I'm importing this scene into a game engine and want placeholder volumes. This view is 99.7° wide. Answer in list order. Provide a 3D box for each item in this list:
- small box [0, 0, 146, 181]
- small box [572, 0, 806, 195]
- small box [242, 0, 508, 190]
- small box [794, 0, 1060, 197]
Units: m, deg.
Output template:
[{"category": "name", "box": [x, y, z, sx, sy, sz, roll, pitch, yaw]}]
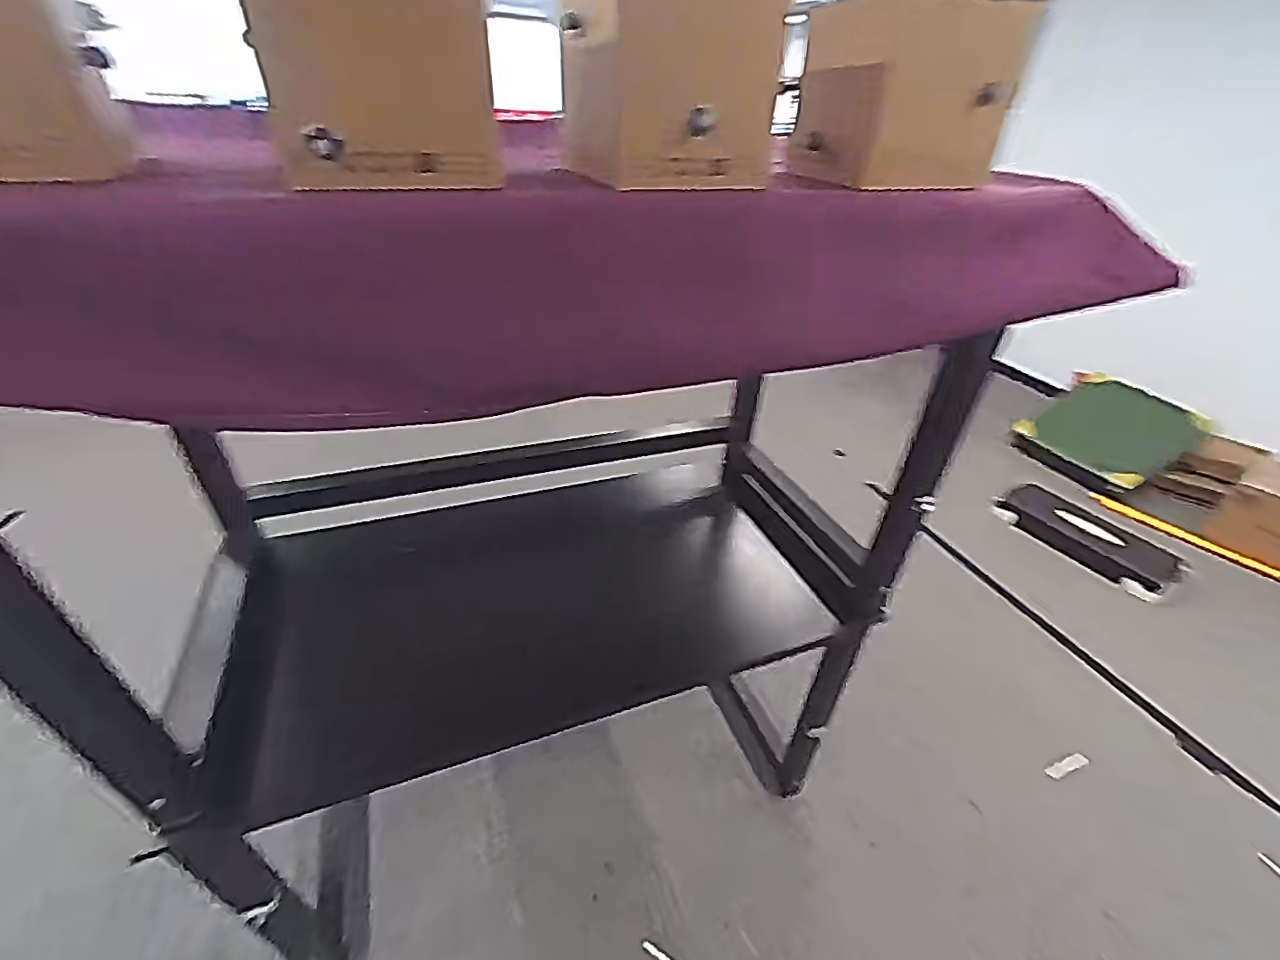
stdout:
[{"category": "small box", "box": [-0.490, -0.309, 0.374, 0.179, 0.176, 0.168, -16, 39, -27]}, {"category": "small box", "box": [0.031, -0.387, 0.530, 0.168, 0.176, 0.179, -11, 38, -19]}, {"category": "small box", "box": [-0.213, -0.346, 0.451, 0.168, 0.176, 0.179, -11, 37, -20]}, {"category": "small box", "box": [0.300, -0.425, 0.607, 0.179, 0.176, 0.168, -10, 36, -16]}]
